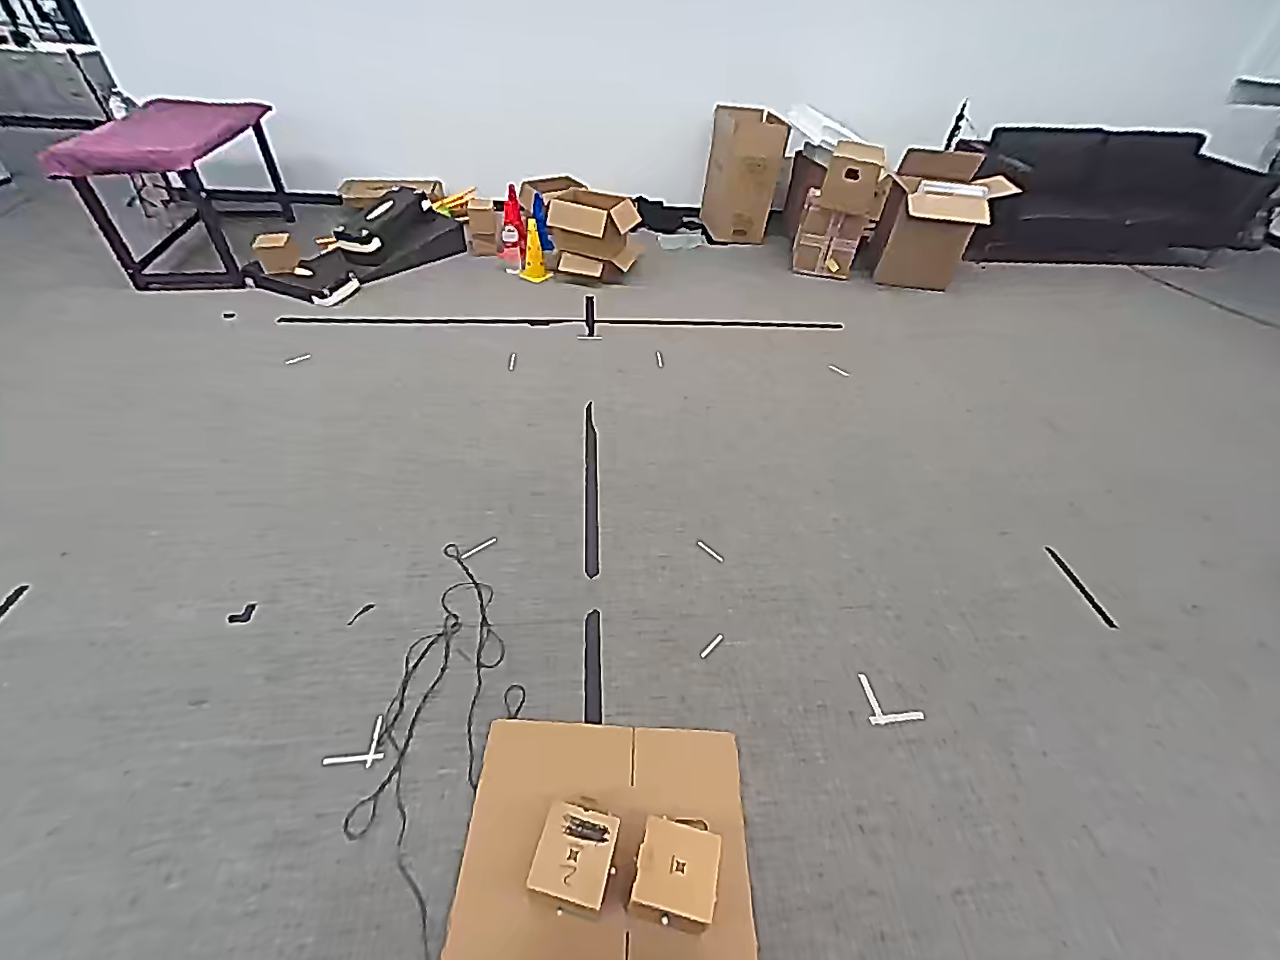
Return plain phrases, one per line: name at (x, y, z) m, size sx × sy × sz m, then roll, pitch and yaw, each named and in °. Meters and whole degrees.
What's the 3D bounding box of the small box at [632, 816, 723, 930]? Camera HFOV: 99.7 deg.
small box at (0.084, 0.911, 1.250) m, size 0.179 × 0.176 × 0.168 m, roll 11°, pitch 44°, yaw 8°
